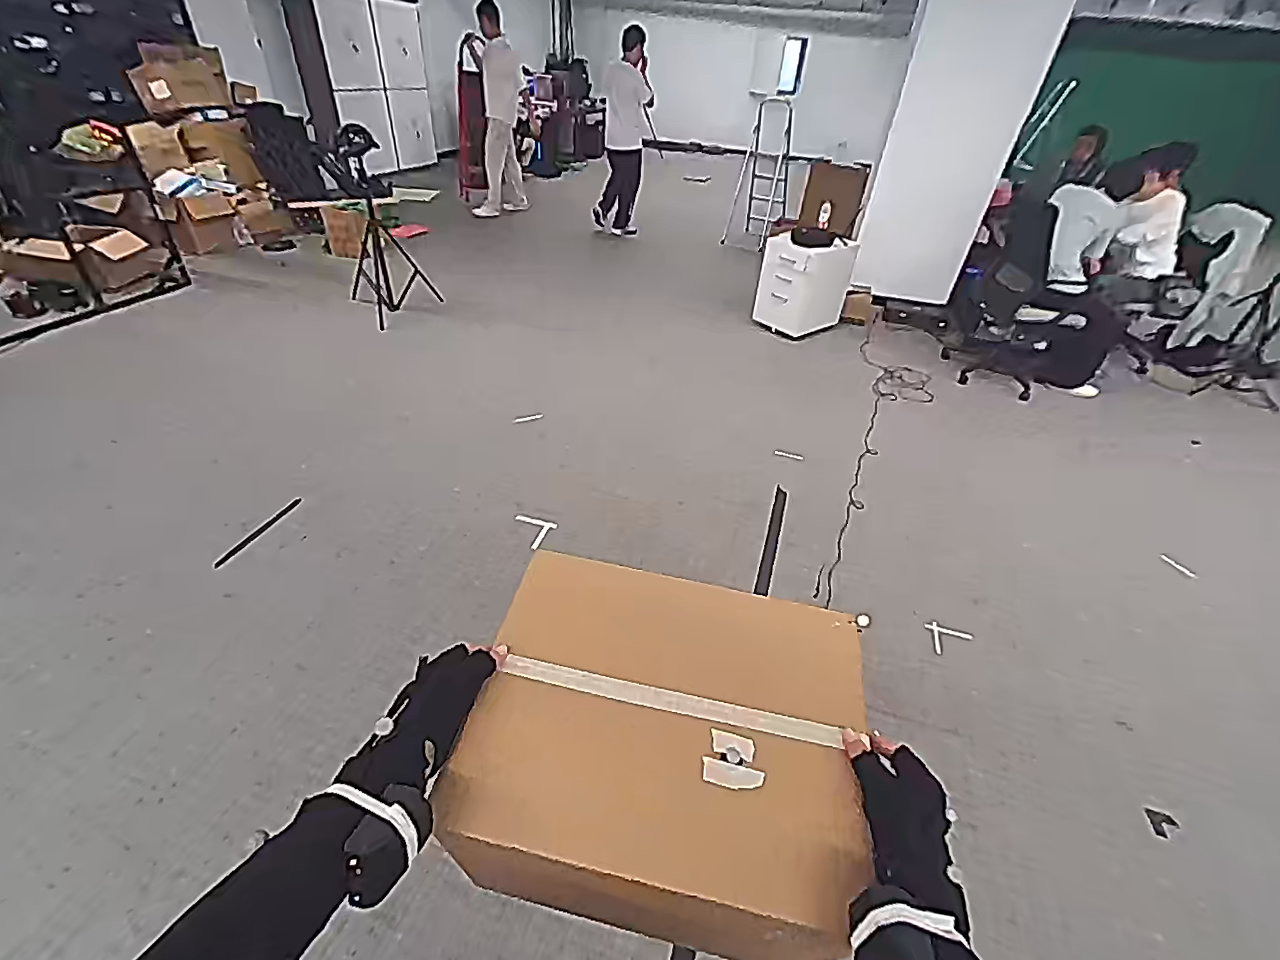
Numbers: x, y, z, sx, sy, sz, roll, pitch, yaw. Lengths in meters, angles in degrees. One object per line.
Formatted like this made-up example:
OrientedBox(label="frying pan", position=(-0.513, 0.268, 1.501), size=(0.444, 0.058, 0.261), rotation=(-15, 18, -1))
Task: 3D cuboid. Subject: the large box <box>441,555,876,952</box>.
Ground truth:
OrientedBox(label="large box", position=(0.024, 0.340, 0.686), size=(0.408, 0.320, 0.320), rotation=(11, 46, 5))
